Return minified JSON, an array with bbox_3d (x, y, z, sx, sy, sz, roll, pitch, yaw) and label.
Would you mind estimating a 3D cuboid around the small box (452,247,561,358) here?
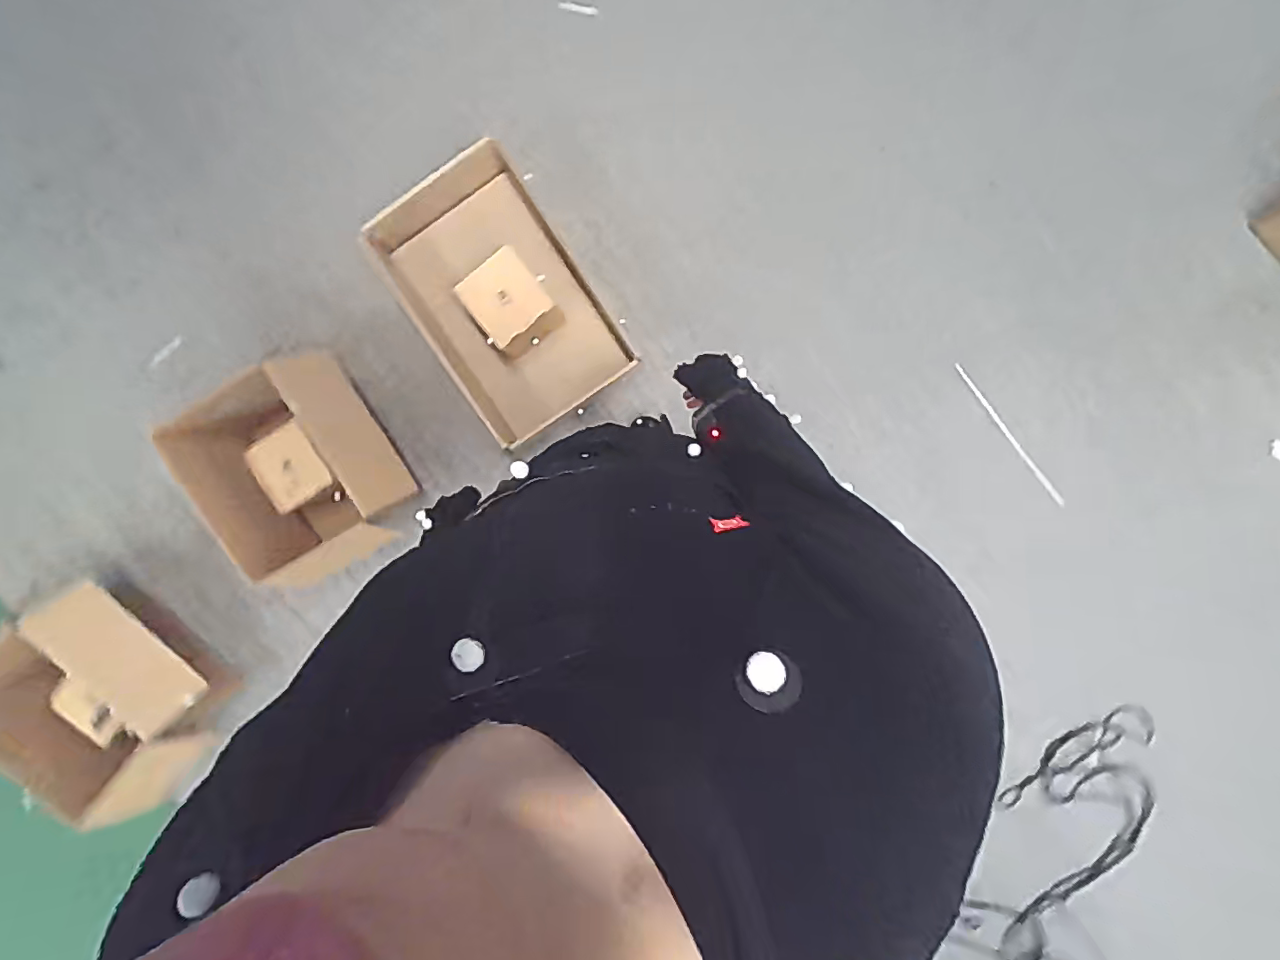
[{"bbox_3d":[-0.315,-0.418,1.310,0.168,0.176,0.179,-39,93,4],"label":"small box"}]
